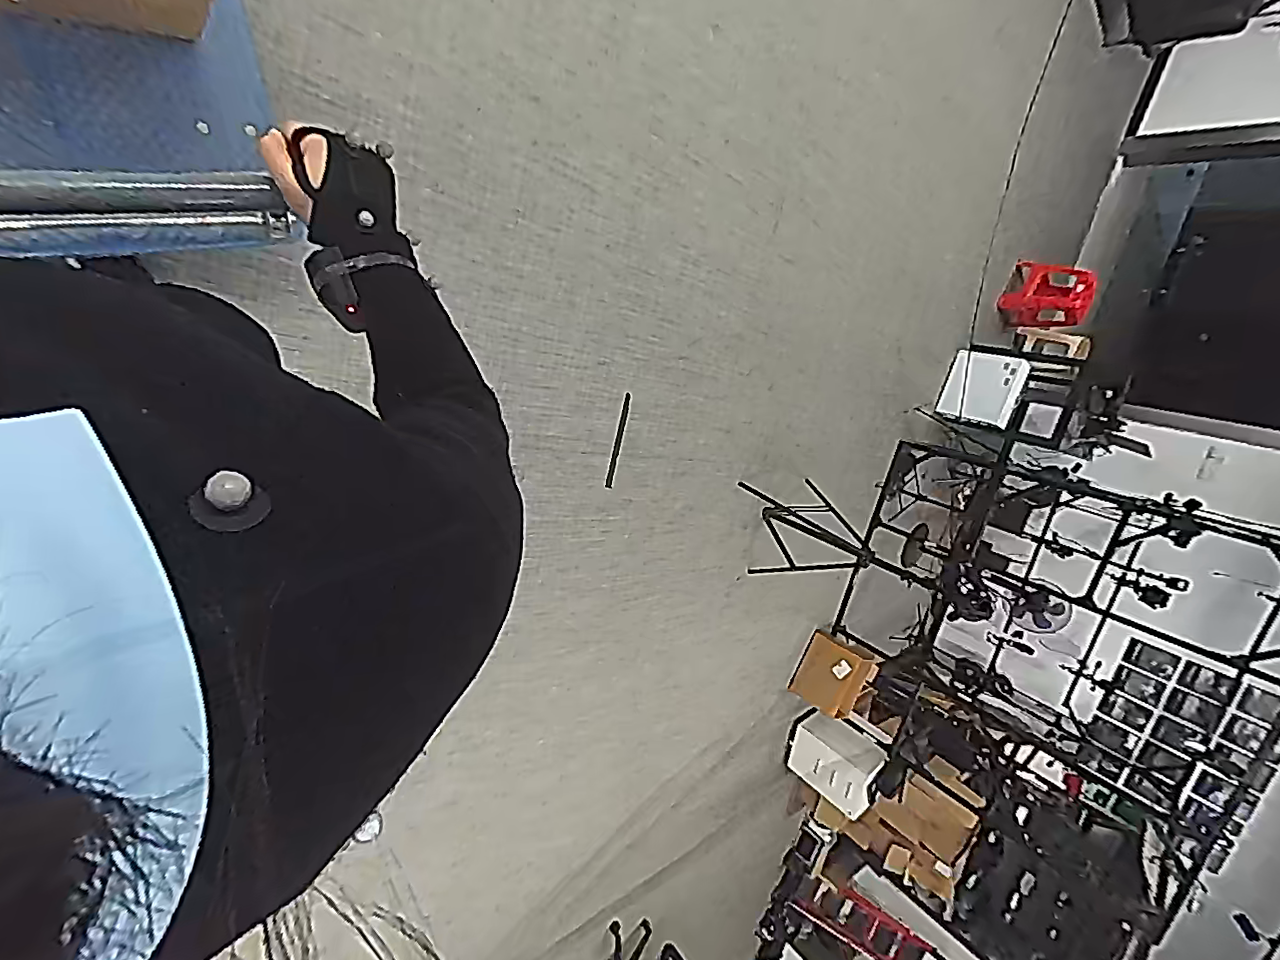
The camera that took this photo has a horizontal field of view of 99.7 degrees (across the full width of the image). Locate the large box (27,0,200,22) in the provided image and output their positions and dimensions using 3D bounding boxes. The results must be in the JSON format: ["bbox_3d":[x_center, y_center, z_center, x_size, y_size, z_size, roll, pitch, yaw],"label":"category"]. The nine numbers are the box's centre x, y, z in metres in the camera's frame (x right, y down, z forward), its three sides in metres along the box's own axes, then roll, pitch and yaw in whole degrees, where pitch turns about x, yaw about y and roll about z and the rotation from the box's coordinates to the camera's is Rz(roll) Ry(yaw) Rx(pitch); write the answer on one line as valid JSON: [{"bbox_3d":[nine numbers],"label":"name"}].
[{"bbox_3d":[-0.787,-0.767,0.601,0.408,0.320,0.320,-20,122,-35],"label":"large box"}]
